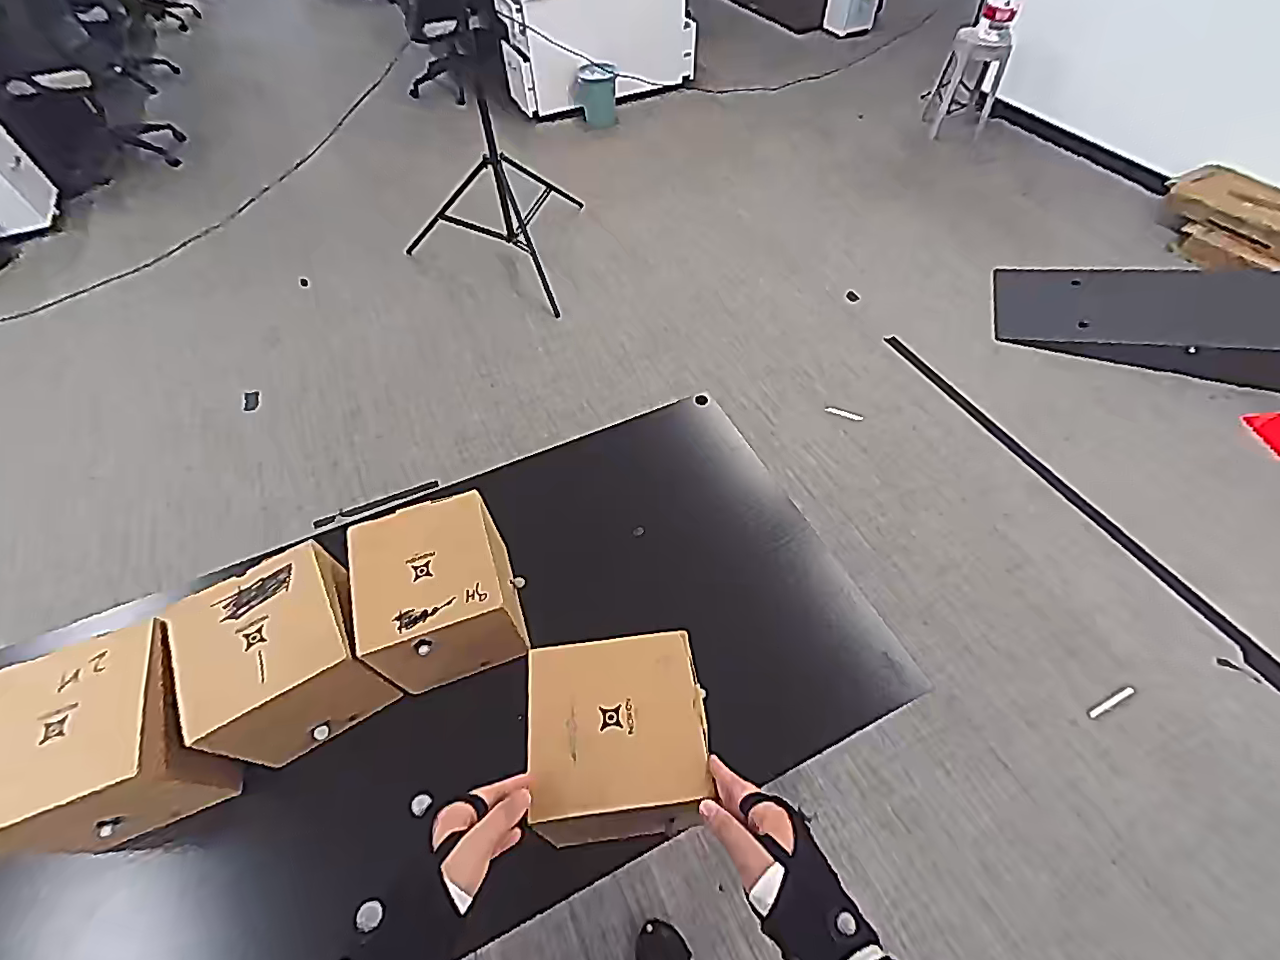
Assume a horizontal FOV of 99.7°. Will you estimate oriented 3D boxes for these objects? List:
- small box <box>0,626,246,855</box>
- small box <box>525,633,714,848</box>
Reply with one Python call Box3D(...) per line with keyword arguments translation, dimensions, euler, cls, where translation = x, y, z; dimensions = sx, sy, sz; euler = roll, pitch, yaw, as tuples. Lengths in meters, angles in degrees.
Box3D(translation=(-0.589, 0.302, 0.620), dimensions=(0.168, 0.176, 0.179), euler=(-19, 55, -13), cls="small box")
Box3D(translation=(-0.023, 0.291, 0.600), dimensions=(0.179, 0.176, 0.168), euler=(-8, 48, -2), cls="small box")
